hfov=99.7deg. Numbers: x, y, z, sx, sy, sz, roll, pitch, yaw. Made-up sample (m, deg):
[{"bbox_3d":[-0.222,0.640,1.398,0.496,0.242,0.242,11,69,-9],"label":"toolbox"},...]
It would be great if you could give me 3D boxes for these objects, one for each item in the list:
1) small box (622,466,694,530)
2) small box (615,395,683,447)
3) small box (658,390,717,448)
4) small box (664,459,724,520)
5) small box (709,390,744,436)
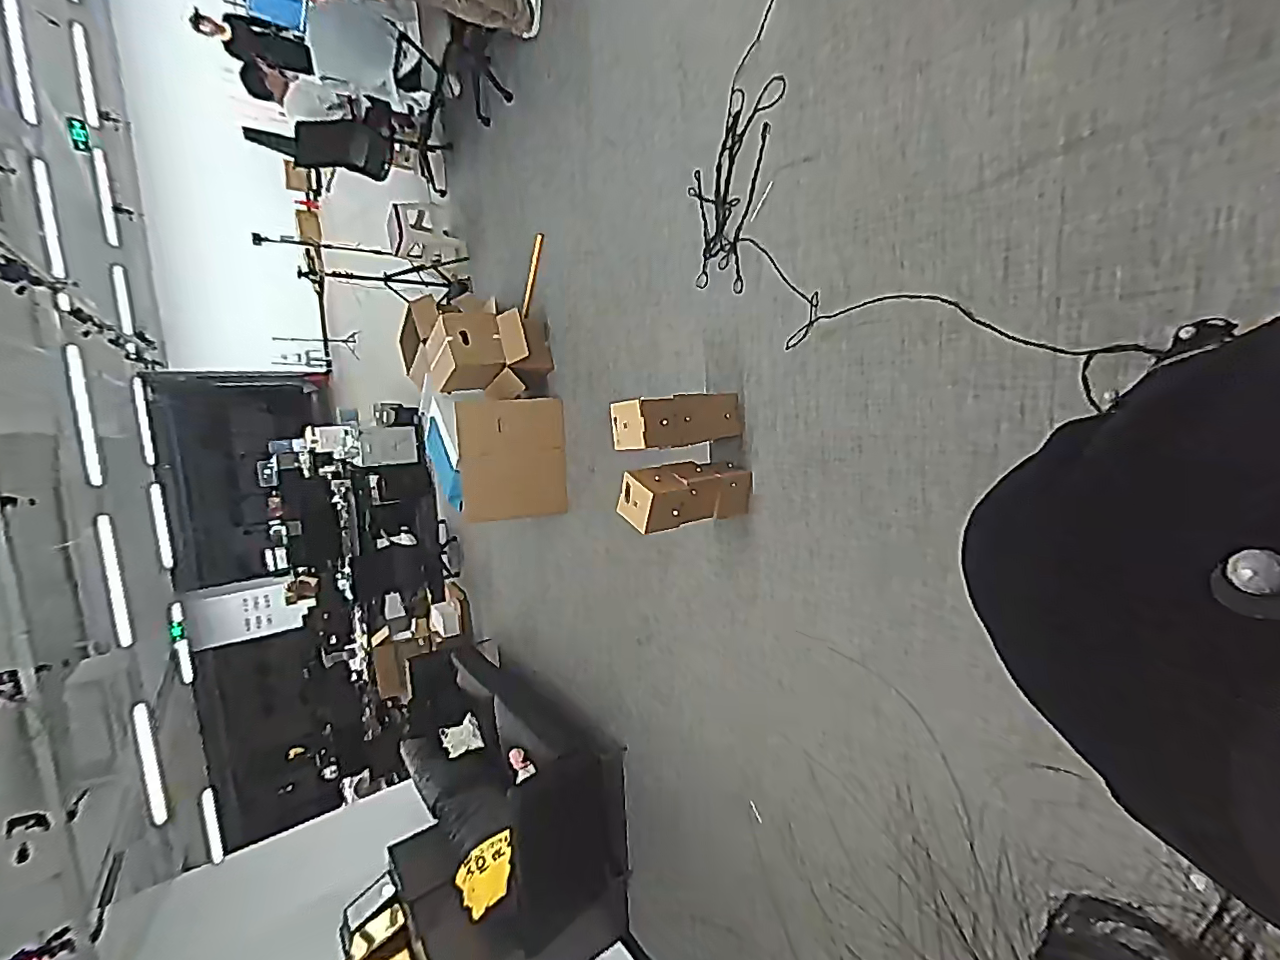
[{"bbox_3d":[0.063,0.057,1.917,0.179,0.176,0.168,39,127,44],"label":"small box"},{"bbox_3d":[0.037,-0.207,1.892,0.179,0.176,0.168,2,99,52],"label":"small box"},{"bbox_3d":[0.165,-0.225,1.991,0.168,0.176,0.179,-11,89,54],"label":"small box"},{"bbox_3d":[0.191,0.034,2.017,0.168,0.176,0.179,34,123,47],"label":"small box"},{"bbox_3d":[0.288,-0.254,2.094,0.179,0.176,0.168,-4,94,55],"label":"small box"}]
